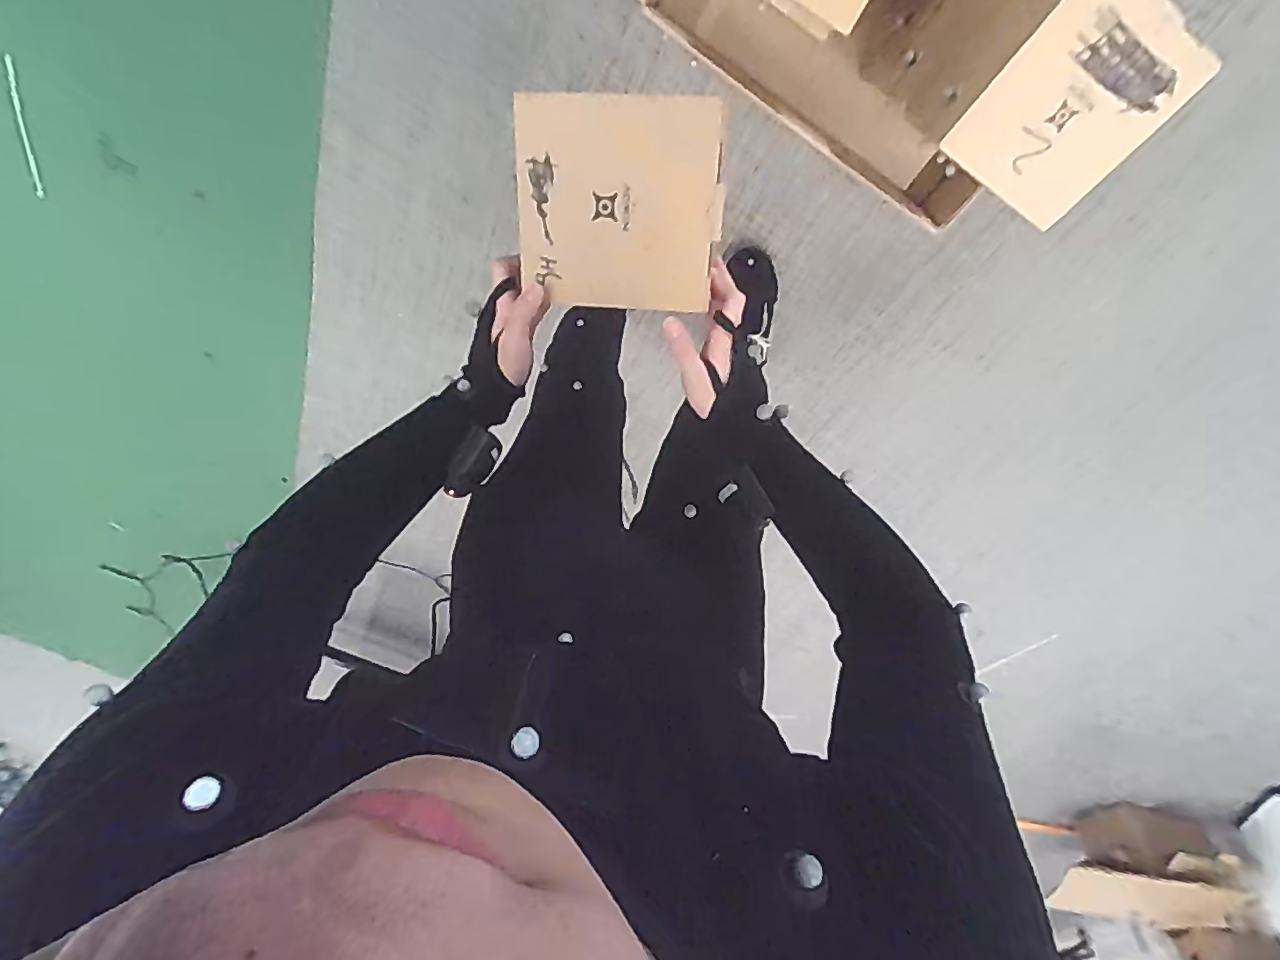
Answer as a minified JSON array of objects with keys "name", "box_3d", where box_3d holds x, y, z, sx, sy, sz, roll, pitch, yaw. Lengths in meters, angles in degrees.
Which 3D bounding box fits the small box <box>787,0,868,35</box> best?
[{"name":"small box","box_3d":[0.225,-0.668,0.633,0.168,0.176,0.179,25,130,-11]}]

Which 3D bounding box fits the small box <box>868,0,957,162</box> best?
[{"name":"small box","box_3d":[0.480,-0.633,0.826,0.179,0.176,0.168,32,129,-14]}]

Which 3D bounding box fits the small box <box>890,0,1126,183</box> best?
[{"name":"small box","box_3d":[0.452,-0.532,0.702,0.168,0.176,0.179,30,129,-15]}]

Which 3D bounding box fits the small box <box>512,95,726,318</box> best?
[{"name":"small box","box_3d":[-0.013,-0.262,0.536,0.179,0.176,0.168,5,114,5]}]
